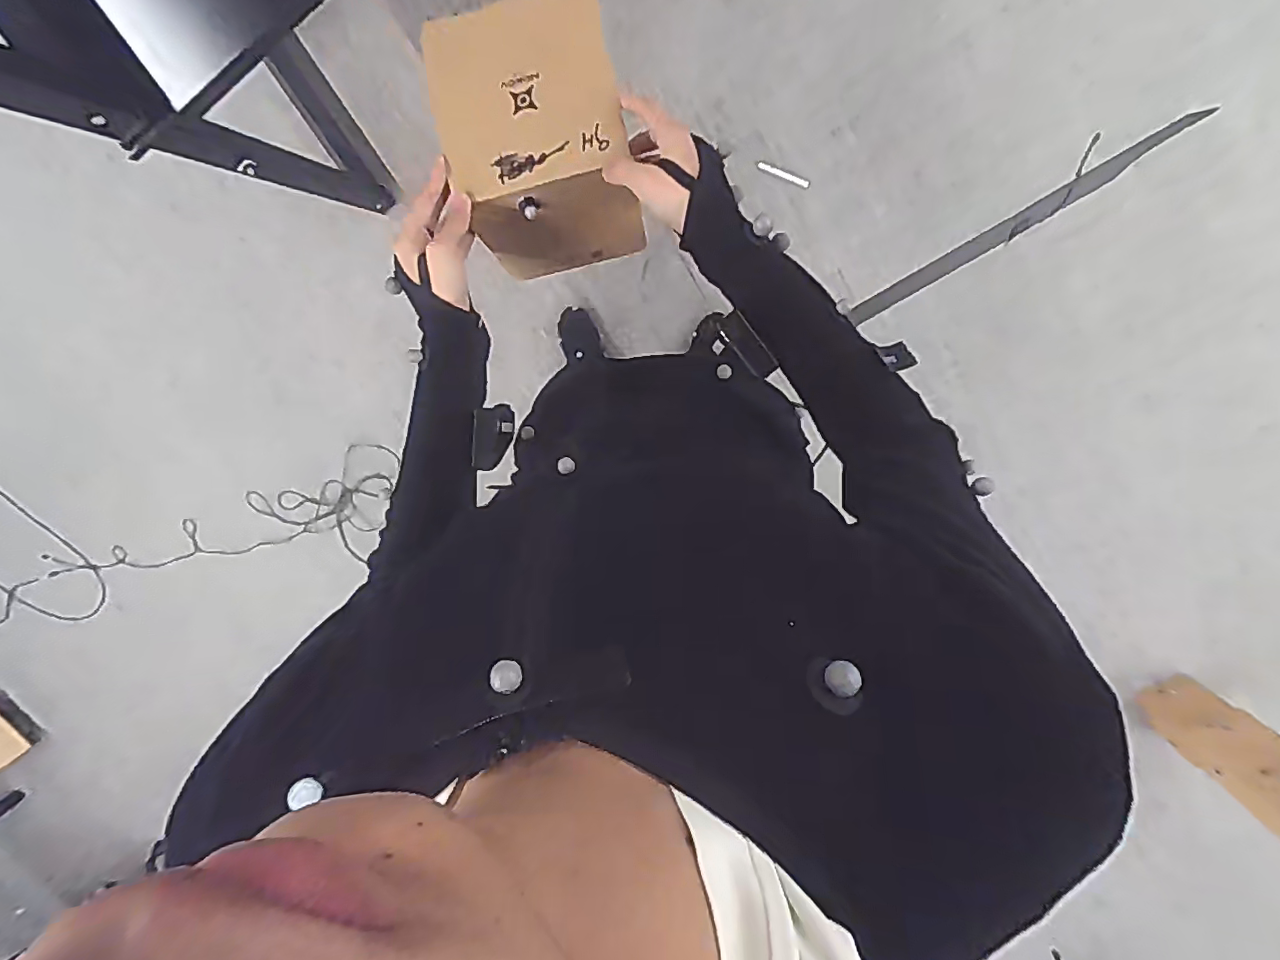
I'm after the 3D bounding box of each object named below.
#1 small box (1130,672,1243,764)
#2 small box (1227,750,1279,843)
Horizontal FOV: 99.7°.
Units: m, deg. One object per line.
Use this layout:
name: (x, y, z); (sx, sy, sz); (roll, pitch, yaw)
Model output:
small box: (1.733, 0.753, 1.722); (0.168, 0.176, 0.179); (-32, 104, 12)
small box: (1.715, 0.849, 1.409); (0.168, 0.176, 0.179); (-32, 103, 12)
